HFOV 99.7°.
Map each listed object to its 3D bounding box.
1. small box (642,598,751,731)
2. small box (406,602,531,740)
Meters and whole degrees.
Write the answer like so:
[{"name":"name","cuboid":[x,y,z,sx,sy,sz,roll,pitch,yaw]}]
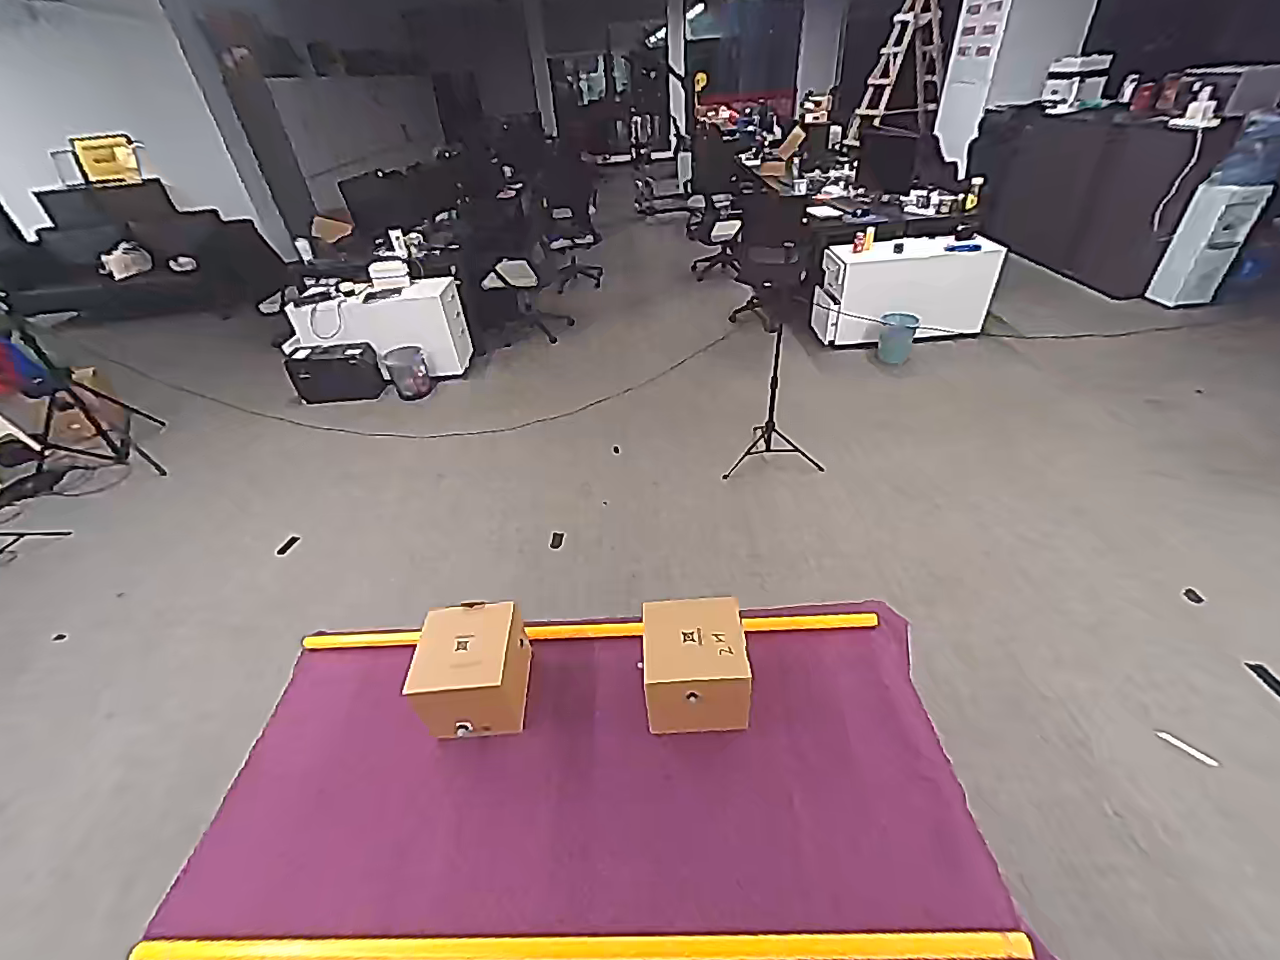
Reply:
[{"name":"small box","cuboid":[0.098,0.333,0.973,0.179,0.176,0.168,-4,39,2]},{"name":"small box","cuboid":[-0.302,0.351,0.998,0.168,0.176,0.179,-5,38,1]}]
